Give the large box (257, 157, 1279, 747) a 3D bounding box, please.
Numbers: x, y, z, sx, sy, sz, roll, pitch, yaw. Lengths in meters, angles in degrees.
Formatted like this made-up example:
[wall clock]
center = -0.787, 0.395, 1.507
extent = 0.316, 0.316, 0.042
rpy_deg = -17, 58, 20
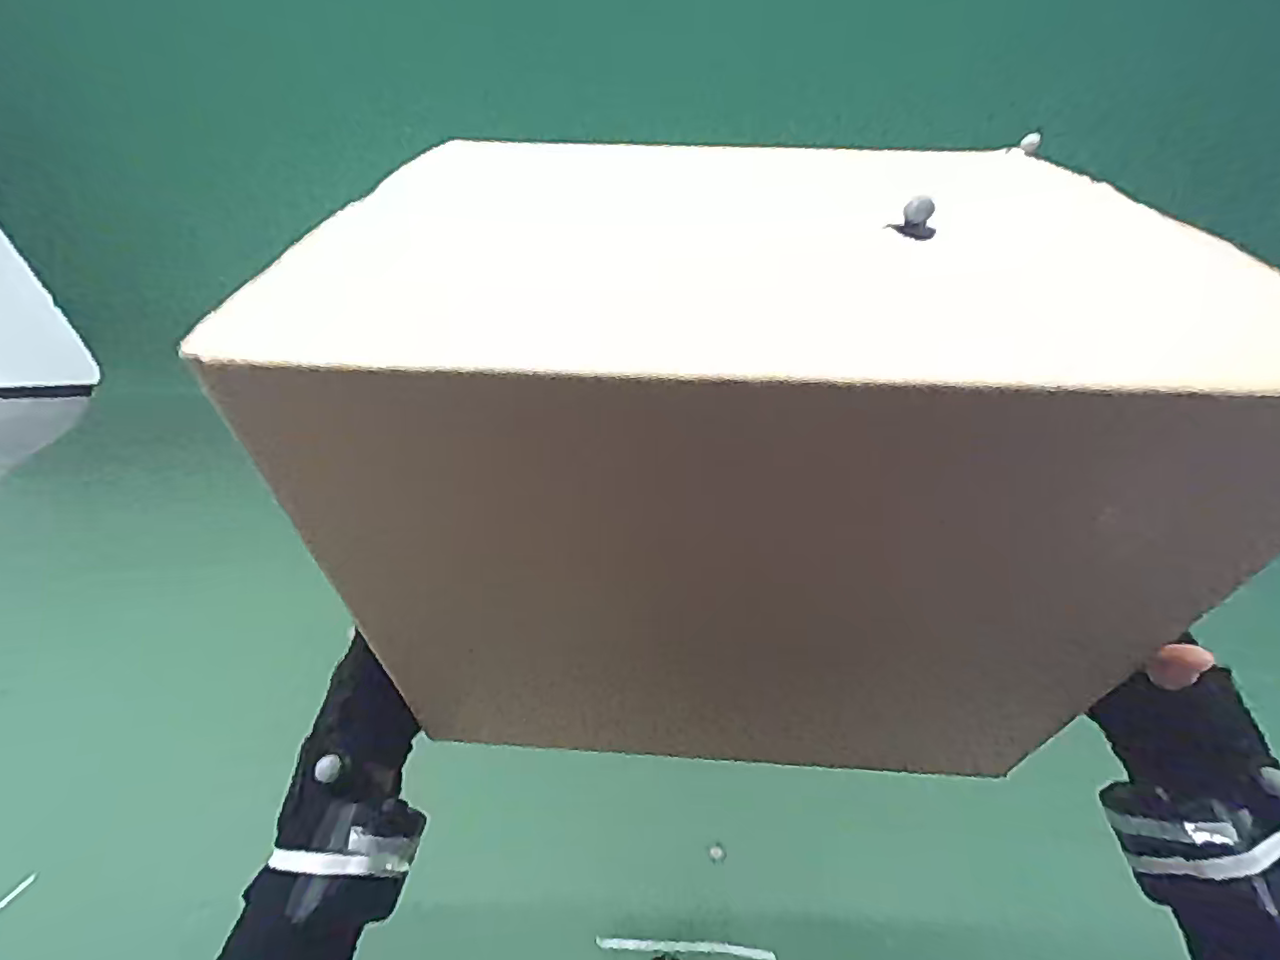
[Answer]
[large box]
center = 0.060, -0.026, 0.399
extent = 0.408, 0.320, 0.320
rpy_deg = 3, 44, 2
